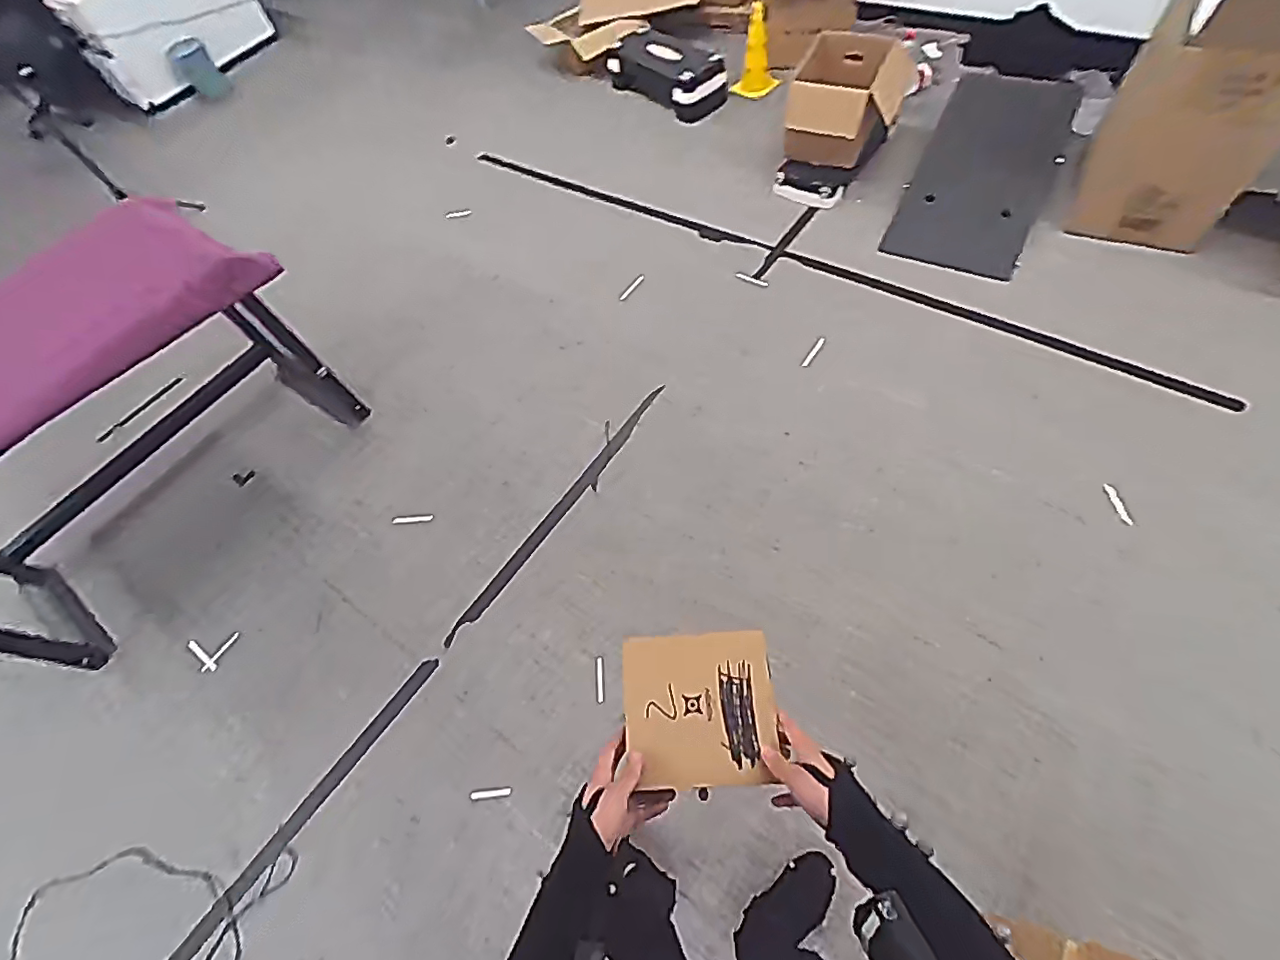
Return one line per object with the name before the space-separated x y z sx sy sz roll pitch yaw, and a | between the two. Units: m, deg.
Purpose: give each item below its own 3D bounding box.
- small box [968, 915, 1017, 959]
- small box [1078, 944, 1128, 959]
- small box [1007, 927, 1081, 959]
small box | 0.778 1.007 1.066 0.179 0.176 0.168 24 66 20
small box | 0.756 0.837 0.788 0.168 0.176 0.179 31 69 22
small box | 0.759 0.920 0.929 0.179 0.176 0.168 26 67 21
